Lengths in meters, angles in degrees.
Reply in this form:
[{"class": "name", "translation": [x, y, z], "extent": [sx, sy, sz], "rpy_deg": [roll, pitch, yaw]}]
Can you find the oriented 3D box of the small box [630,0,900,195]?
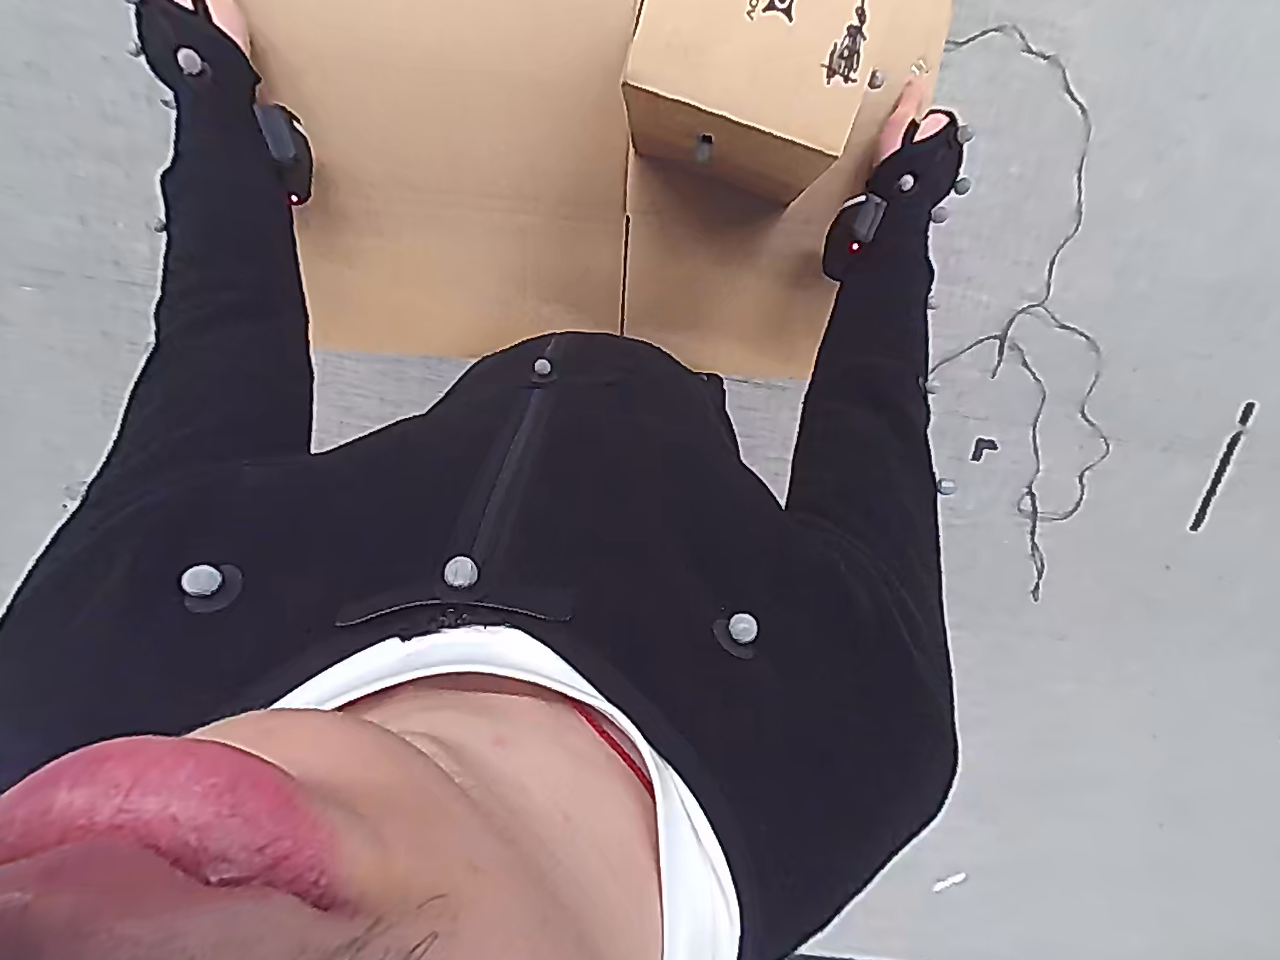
[{"class": "small box", "translation": [0.102, -0.371, 0.467], "extent": [0.179, 0.176, 0.168], "rpy_deg": [18, 106, -2]}]
